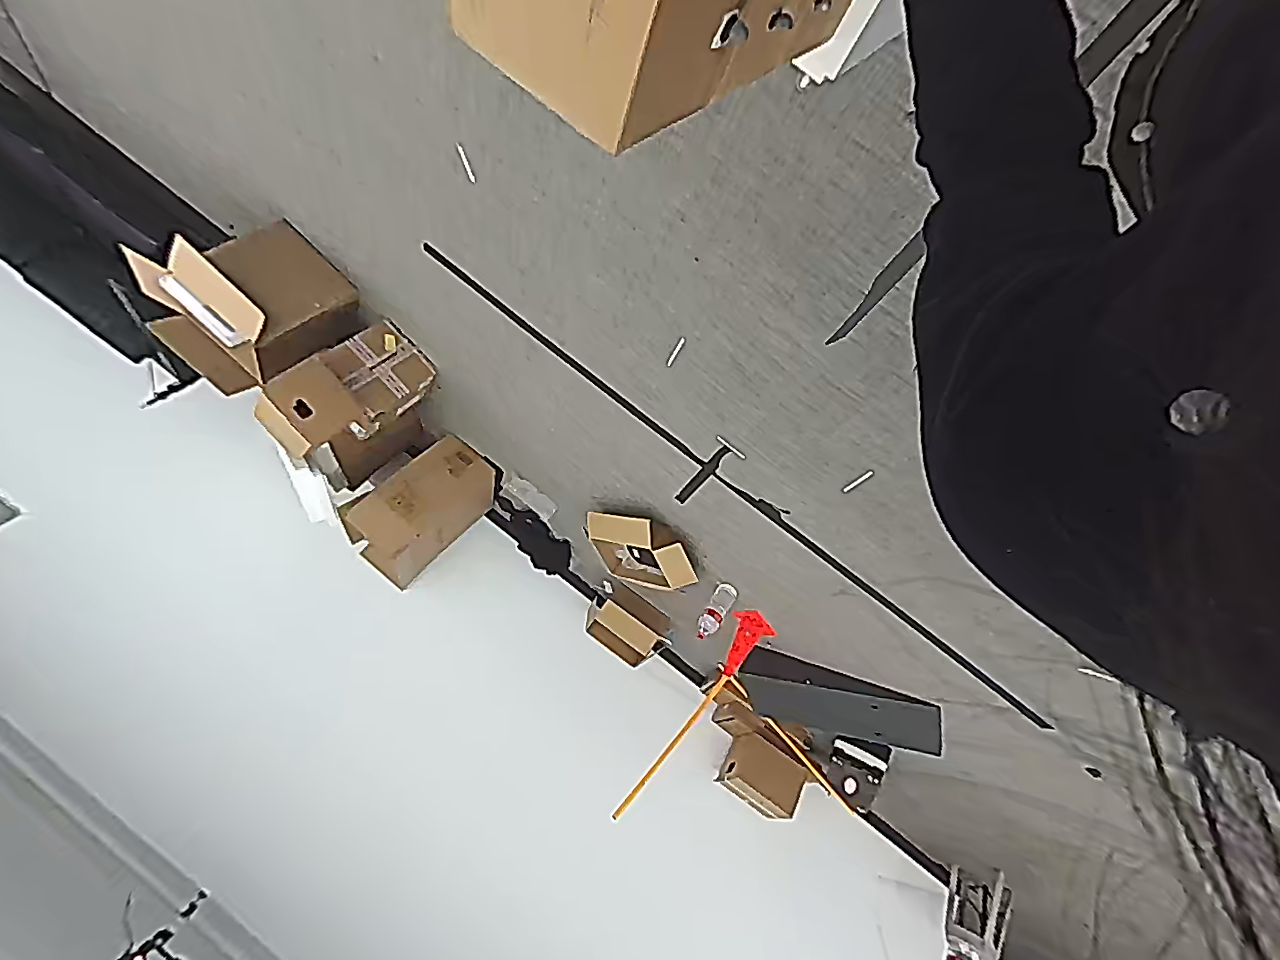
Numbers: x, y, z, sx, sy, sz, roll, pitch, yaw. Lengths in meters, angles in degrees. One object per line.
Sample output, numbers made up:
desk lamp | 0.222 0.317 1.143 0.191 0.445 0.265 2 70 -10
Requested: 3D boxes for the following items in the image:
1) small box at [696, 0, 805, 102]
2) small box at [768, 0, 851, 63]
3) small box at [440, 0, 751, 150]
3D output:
small box | 0.069 -0.493 0.487 0.179 0.176 0.168 39 147 3
small box | 0.155 -0.598 0.576 0.179 0.176 0.168 40 148 2
small box | -0.020 -0.391 0.396 0.179 0.176 0.168 38 148 3
